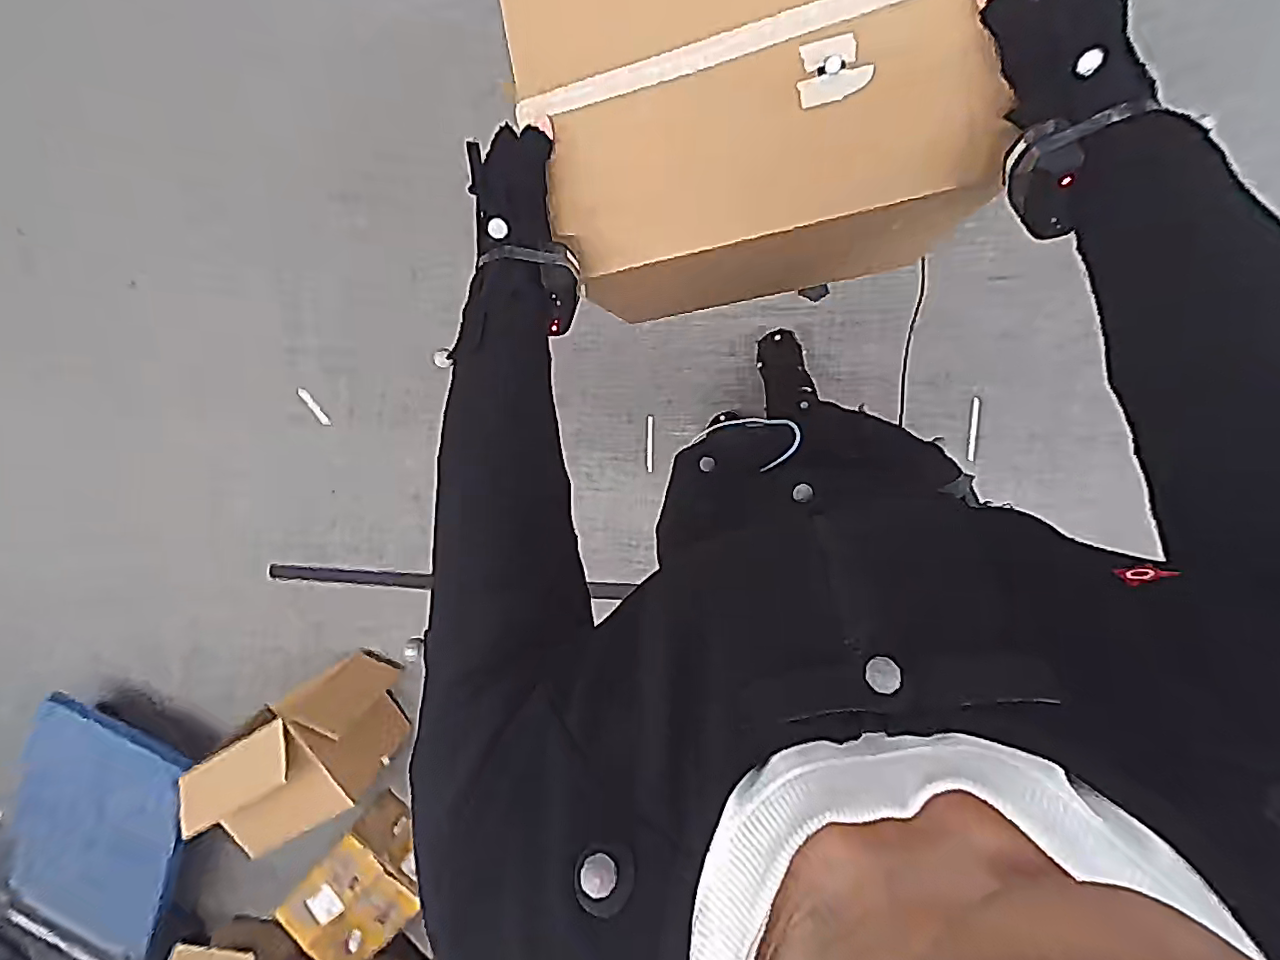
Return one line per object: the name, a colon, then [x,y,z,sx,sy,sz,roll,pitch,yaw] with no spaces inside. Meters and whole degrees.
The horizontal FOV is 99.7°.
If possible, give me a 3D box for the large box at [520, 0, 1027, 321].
large box: [0.125,-0.395,0.610,0.408,0.320,0.320,-8,97,12]
